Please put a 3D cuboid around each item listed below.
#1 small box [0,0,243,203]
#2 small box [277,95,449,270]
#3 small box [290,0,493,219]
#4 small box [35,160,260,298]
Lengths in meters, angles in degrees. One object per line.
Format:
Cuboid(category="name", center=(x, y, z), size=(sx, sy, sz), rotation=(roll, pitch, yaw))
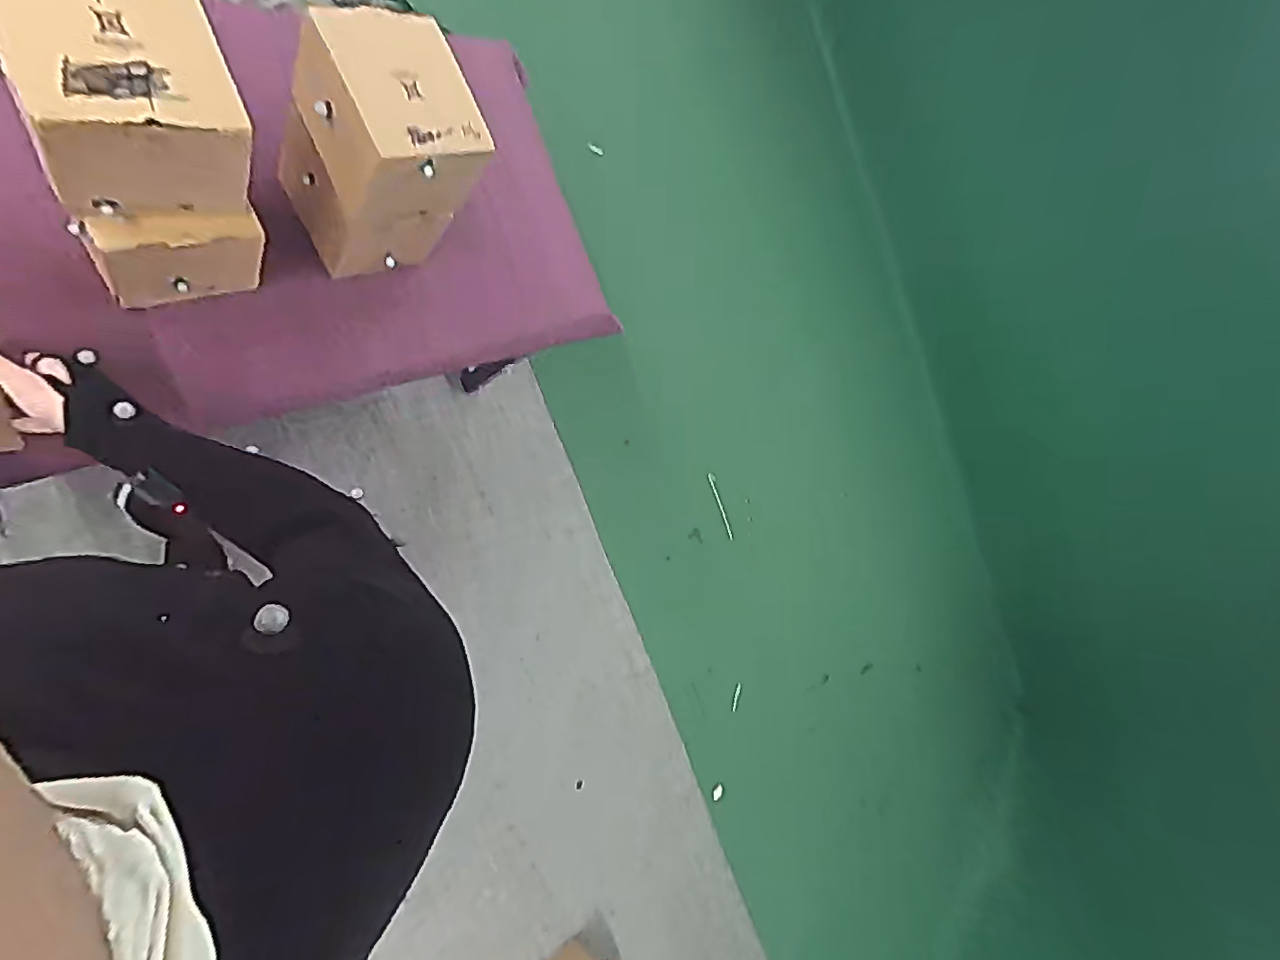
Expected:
Cuboid(category="small box", center=(-0.534, -0.404, 0.548), size=(0.168, 0.176, 0.179), rotation=(-25, 98, -39))
Cuboid(category="small box", center=(-0.437, -0.458, 0.846), size=(0.168, 0.176, 0.179), rotation=(-32, 103, -38))
Cuboid(category="small box", center=(-0.335, -0.482, 0.720), size=(0.168, 0.176, 0.179), rotation=(-33, 102, -37))
Cuboid(category="small box", center=(-0.621, -0.357, 0.683), size=(0.168, 0.176, 0.179), rotation=(-31, 103, -38))
